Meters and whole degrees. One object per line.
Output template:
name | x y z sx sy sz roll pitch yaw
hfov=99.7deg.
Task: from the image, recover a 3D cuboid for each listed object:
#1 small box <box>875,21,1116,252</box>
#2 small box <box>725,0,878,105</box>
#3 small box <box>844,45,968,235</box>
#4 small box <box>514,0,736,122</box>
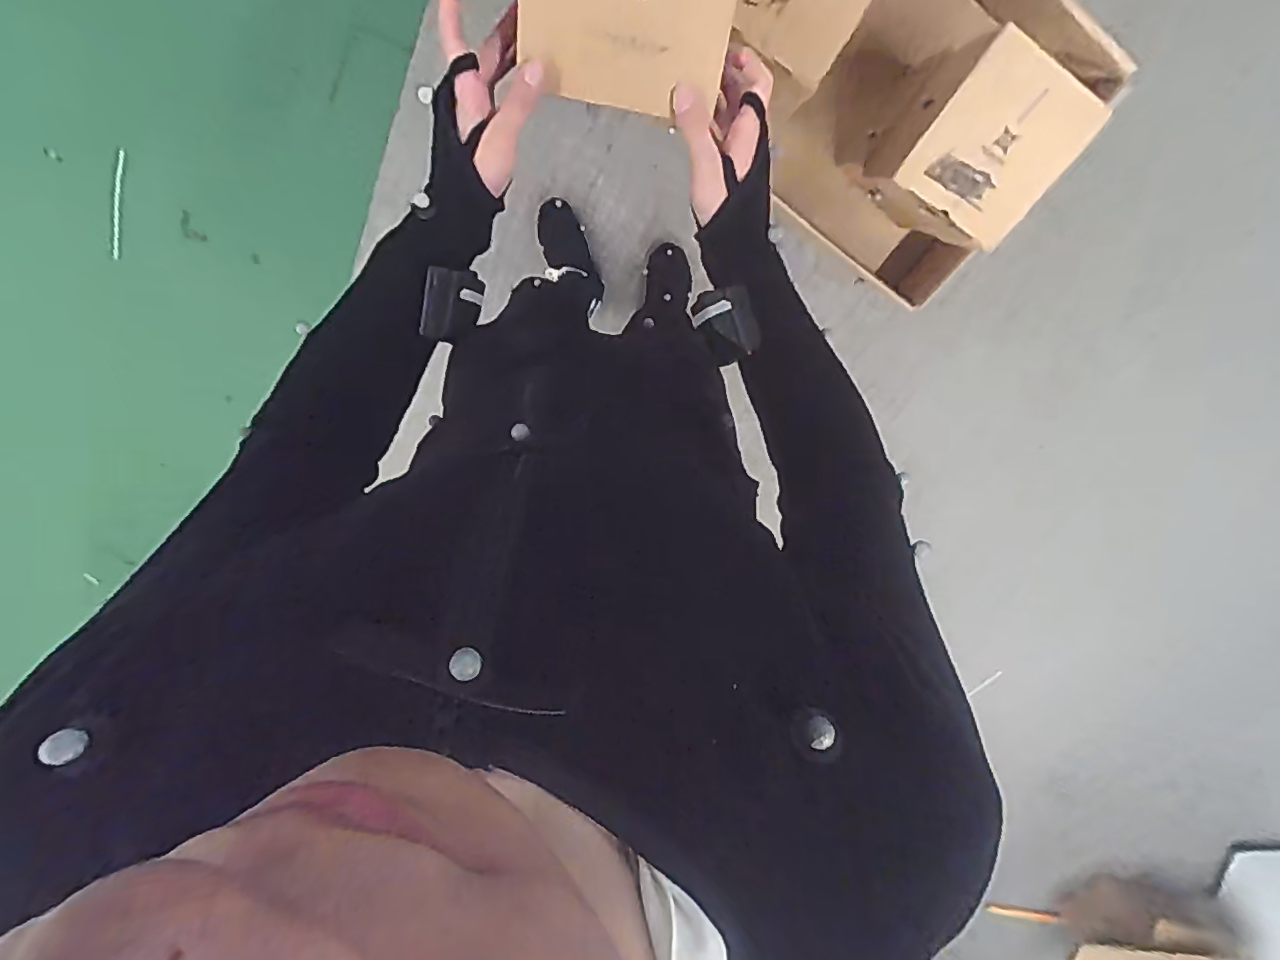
small box | 0.433 -0.428 0.701 0.168 0.176 0.179 31 118 -10
small box | 0.191 -0.590 0.641 0.168 0.176 0.179 32 117 -9
small box | 0.448 -0.515 0.839 0.168 0.176 0.179 35 118 -13
small box | -0.012 -0.425 0.454 0.168 0.176 0.179 5 128 -8
